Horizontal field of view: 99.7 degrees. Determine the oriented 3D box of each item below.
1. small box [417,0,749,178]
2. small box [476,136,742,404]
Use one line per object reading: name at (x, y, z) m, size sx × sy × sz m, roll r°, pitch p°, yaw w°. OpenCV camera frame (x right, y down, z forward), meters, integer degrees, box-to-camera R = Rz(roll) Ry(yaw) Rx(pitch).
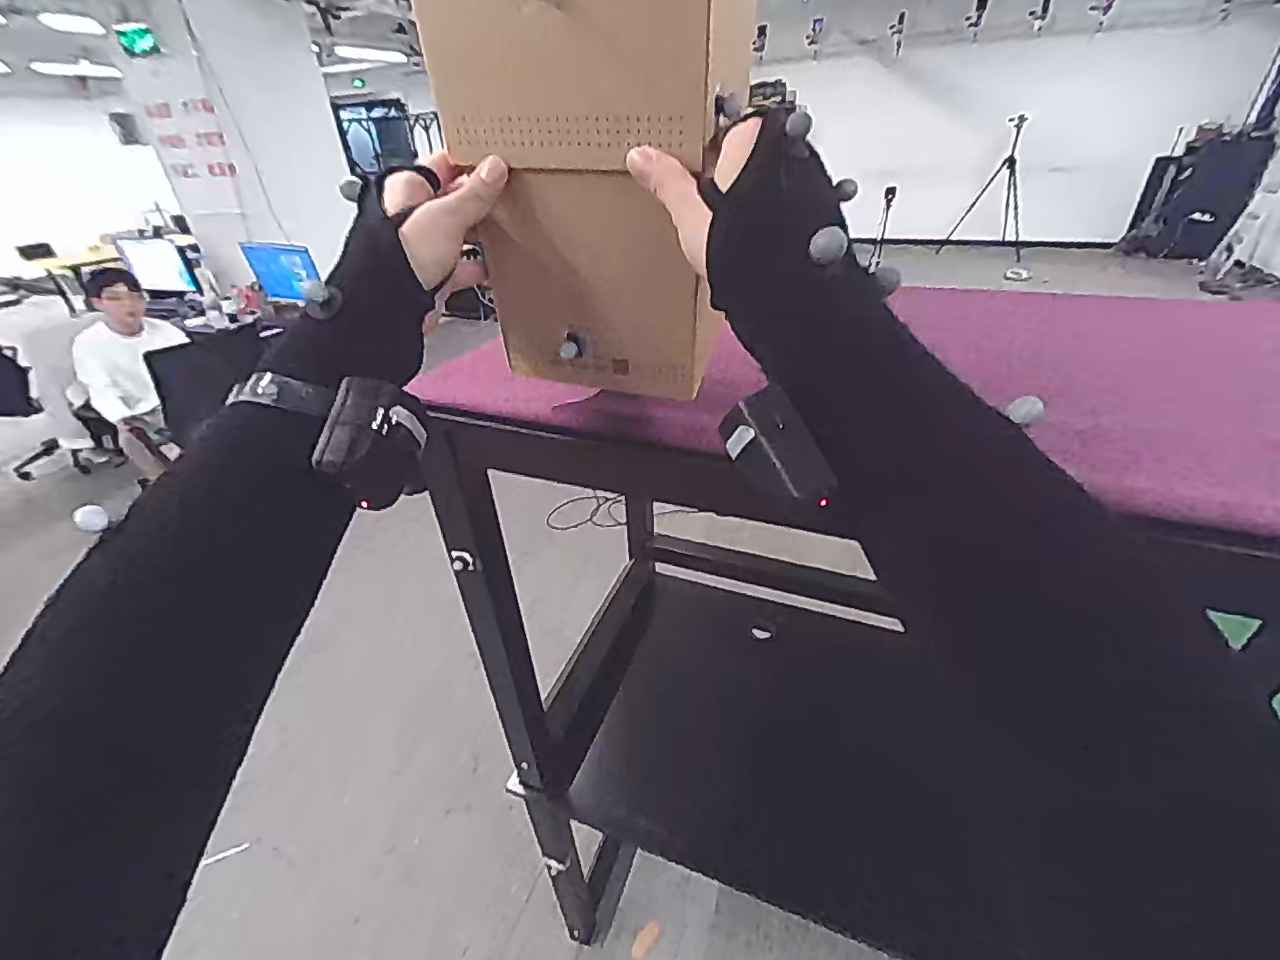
small box at (-0.025, -0.306, 0.353) m, size 0.179 × 0.176 × 0.168 m, roll 9°, pitch 42°, yaw 15°
small box at (-0.014, -0.189, 0.468) m, size 0.168 × 0.176 × 0.179 m, roll 10°, pitch 43°, yaw 14°
